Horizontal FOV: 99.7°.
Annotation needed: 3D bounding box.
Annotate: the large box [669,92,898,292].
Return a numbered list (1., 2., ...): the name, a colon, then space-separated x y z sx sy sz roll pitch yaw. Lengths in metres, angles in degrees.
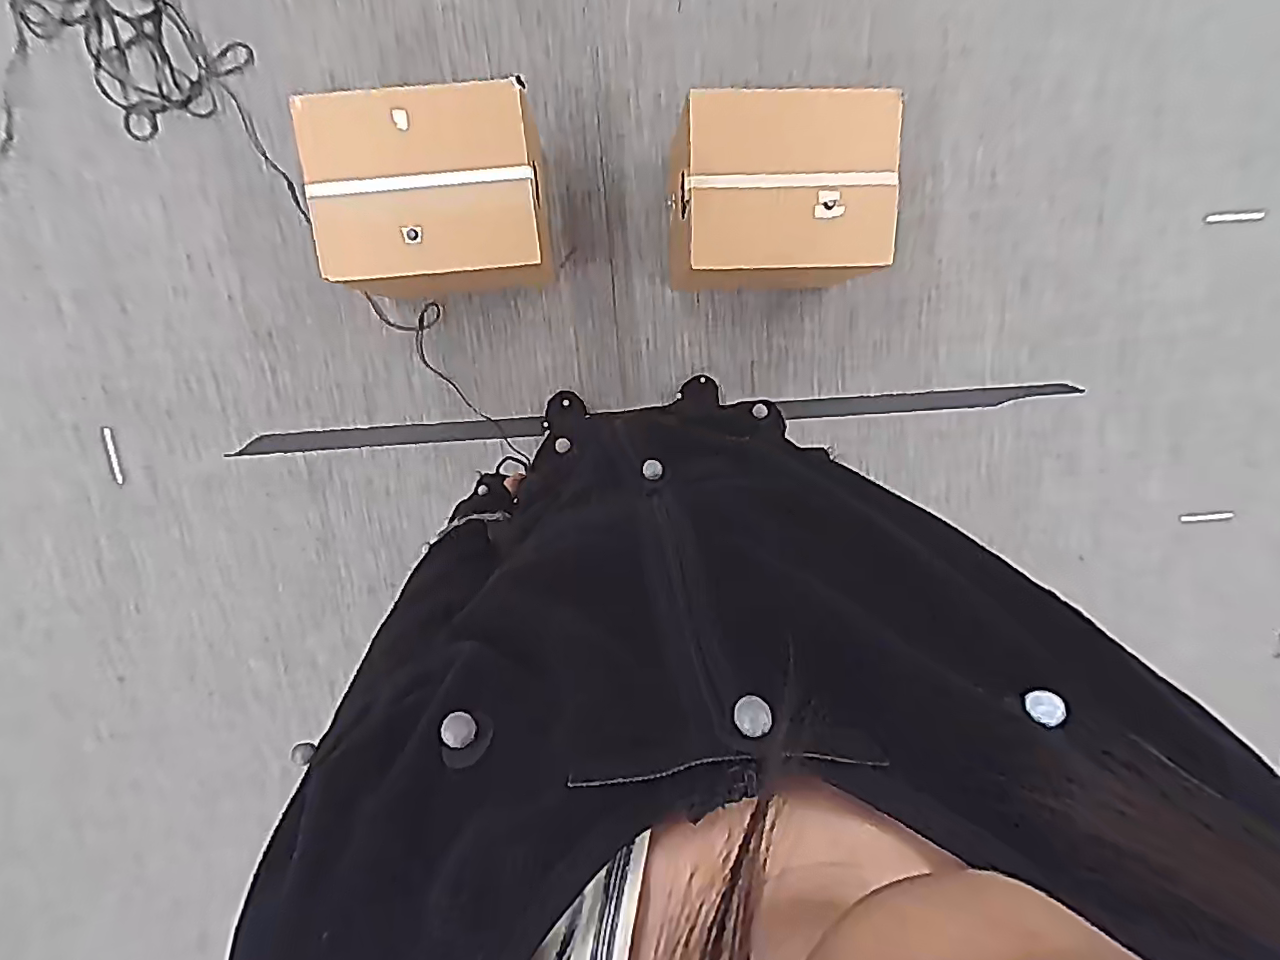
1. large box: 0.283 -0.598 1.180 0.408 0.320 0.320 -2 102 -4
